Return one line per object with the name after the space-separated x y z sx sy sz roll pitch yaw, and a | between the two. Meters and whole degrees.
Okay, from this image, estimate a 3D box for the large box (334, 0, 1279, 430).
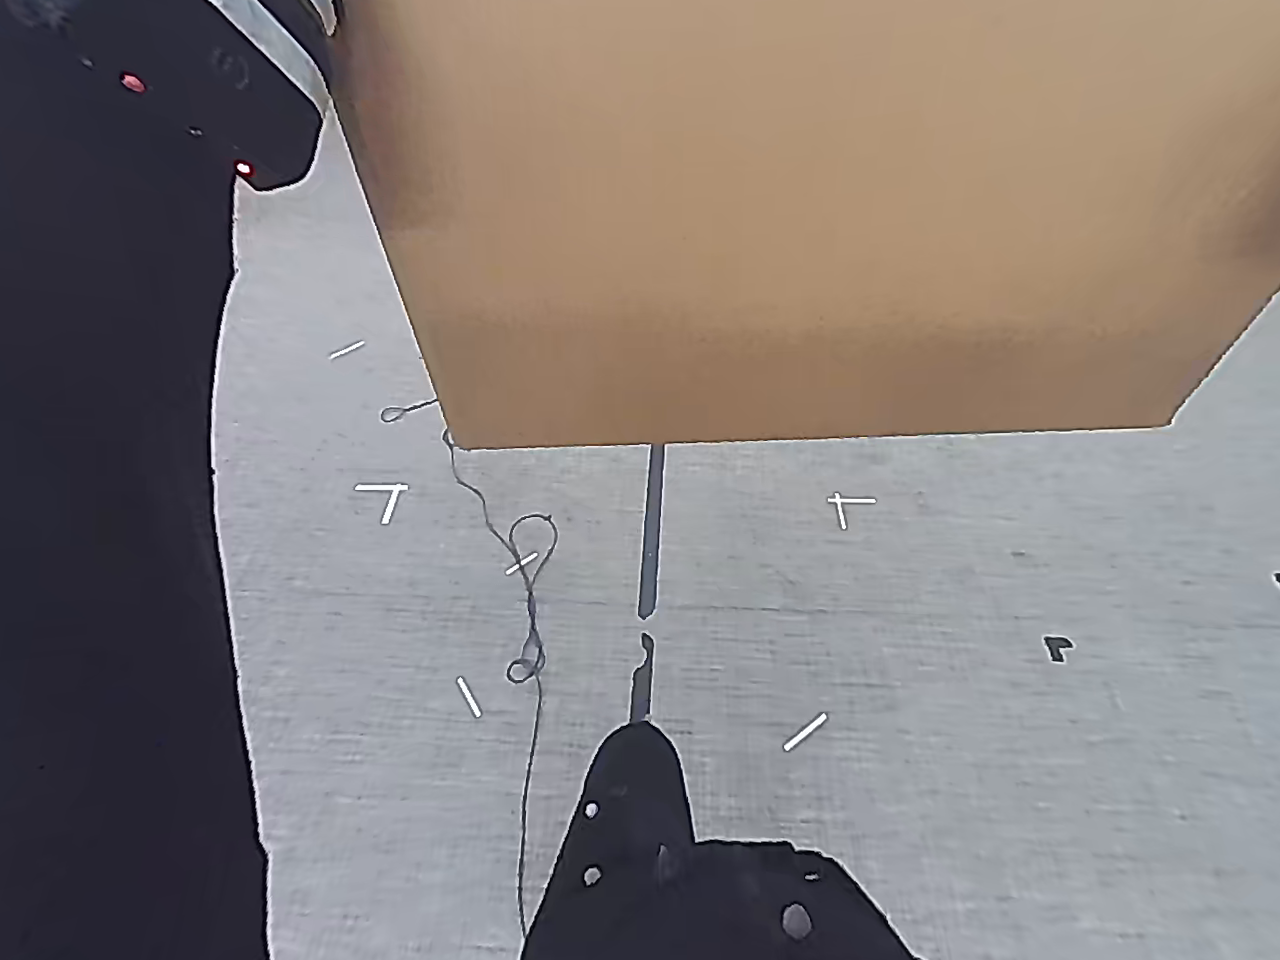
0.086 -0.244 0.316 0.408 0.320 0.320 -2 44 -1 | large box
